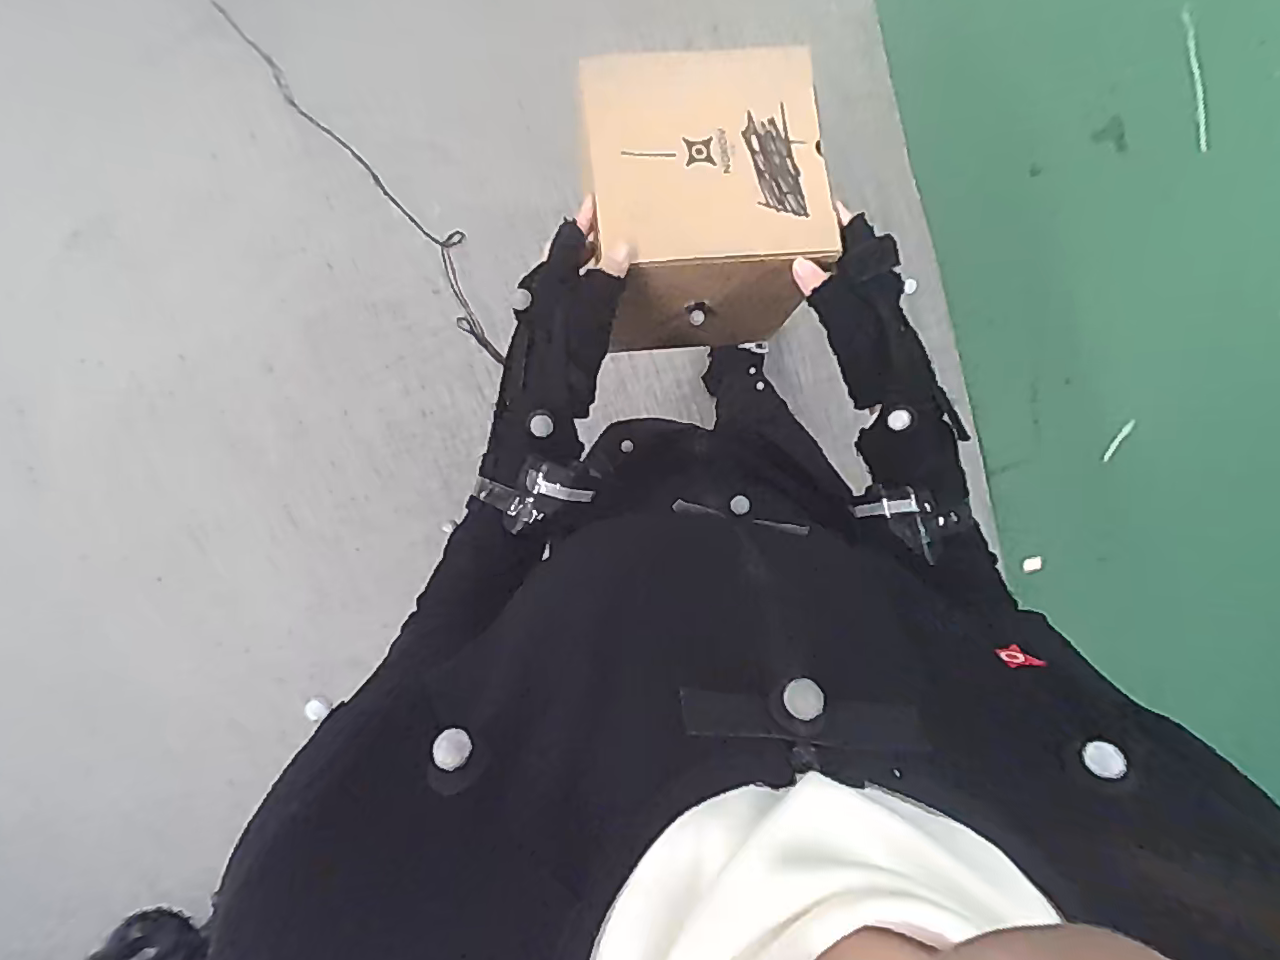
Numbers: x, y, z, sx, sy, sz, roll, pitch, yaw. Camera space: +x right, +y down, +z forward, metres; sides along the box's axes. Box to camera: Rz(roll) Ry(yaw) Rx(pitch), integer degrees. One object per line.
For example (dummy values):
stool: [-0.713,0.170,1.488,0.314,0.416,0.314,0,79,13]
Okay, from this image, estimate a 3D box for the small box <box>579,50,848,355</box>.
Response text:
small box: [0.045,-0.221,0.467,0.179,0.176,0.168,-9,83,-7]
